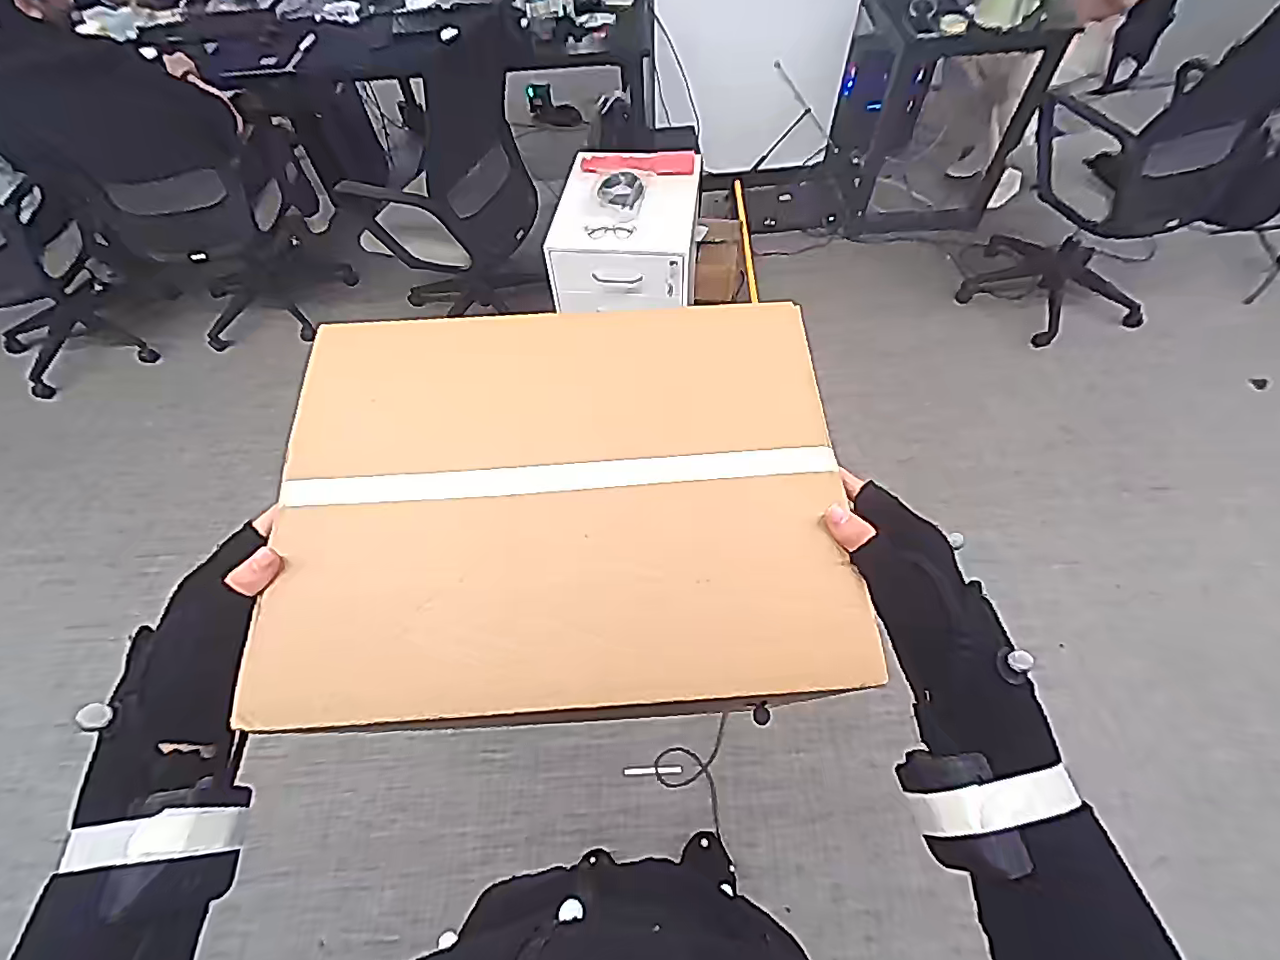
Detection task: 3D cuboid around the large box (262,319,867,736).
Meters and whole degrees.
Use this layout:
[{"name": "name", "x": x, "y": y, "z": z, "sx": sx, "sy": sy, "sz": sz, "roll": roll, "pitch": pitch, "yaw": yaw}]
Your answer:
[{"name": "large box", "x": -0.055, "y": 0.070, "z": 0.546, "sx": 0.408, "sy": 0.320, "sz": 0.320, "roll": -3, "pitch": 65, "yaw": -1}]
